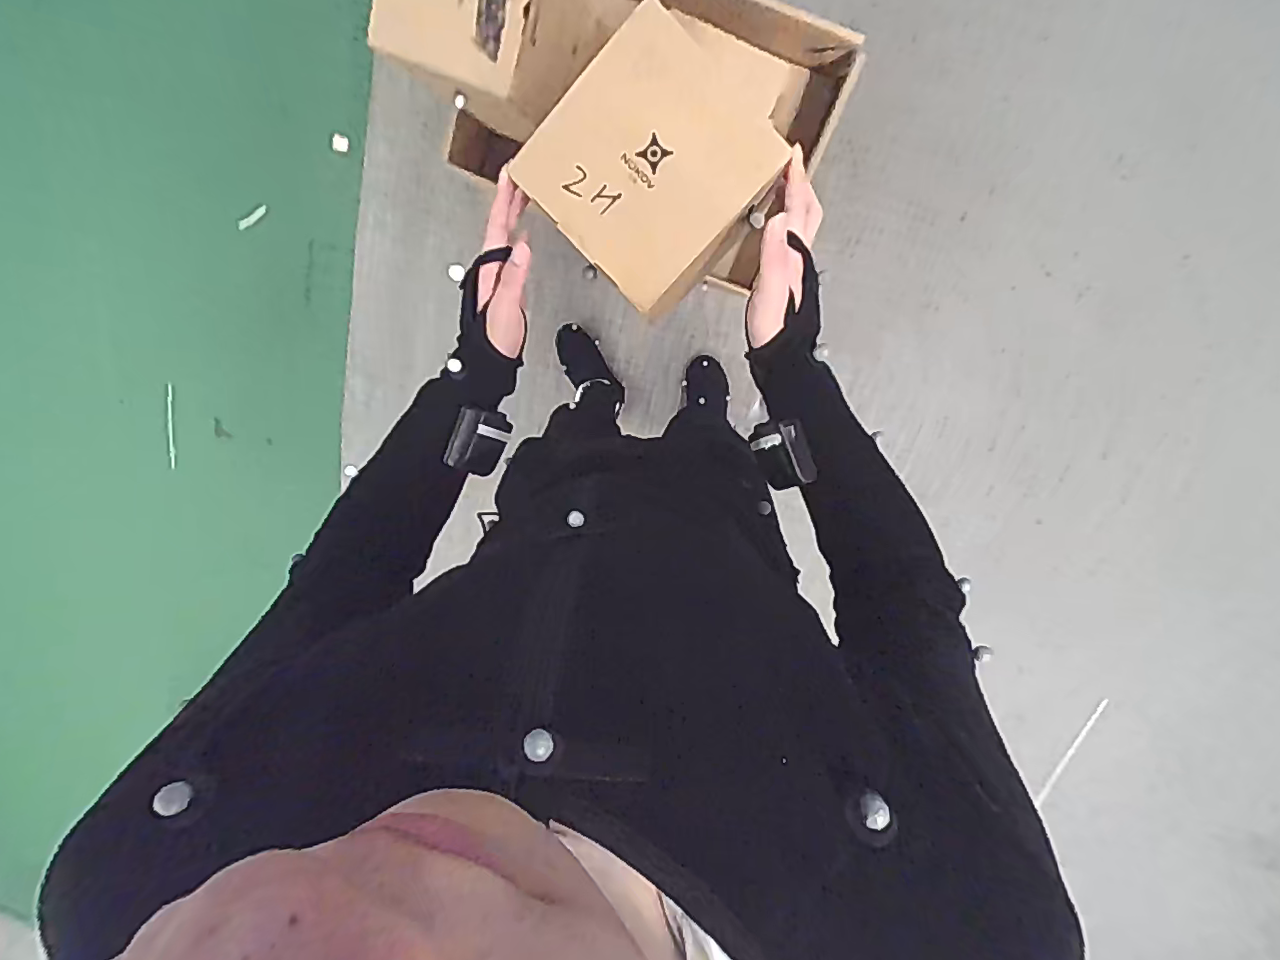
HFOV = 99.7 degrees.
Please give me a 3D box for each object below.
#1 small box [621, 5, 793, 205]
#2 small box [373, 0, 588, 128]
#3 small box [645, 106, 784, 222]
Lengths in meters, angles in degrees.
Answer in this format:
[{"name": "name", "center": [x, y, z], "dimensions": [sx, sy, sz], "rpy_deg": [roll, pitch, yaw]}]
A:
[{"name": "small box", "center": [0.097, -0.518, 0.780], "dimensions": [0.179, 0.176, 0.168], "rpy_deg": [27, 112, 0]}, {"name": "small box", "center": [-0.180, -0.554, 0.649], "dimensions": [0.179, 0.176, 0.168], "rpy_deg": [23, 111, 3]}, {"name": "small box", "center": [0.130, -0.569, 0.931], "dimensions": [0.168, 0.176, 0.179], "rpy_deg": [28, 112, 1]}]
